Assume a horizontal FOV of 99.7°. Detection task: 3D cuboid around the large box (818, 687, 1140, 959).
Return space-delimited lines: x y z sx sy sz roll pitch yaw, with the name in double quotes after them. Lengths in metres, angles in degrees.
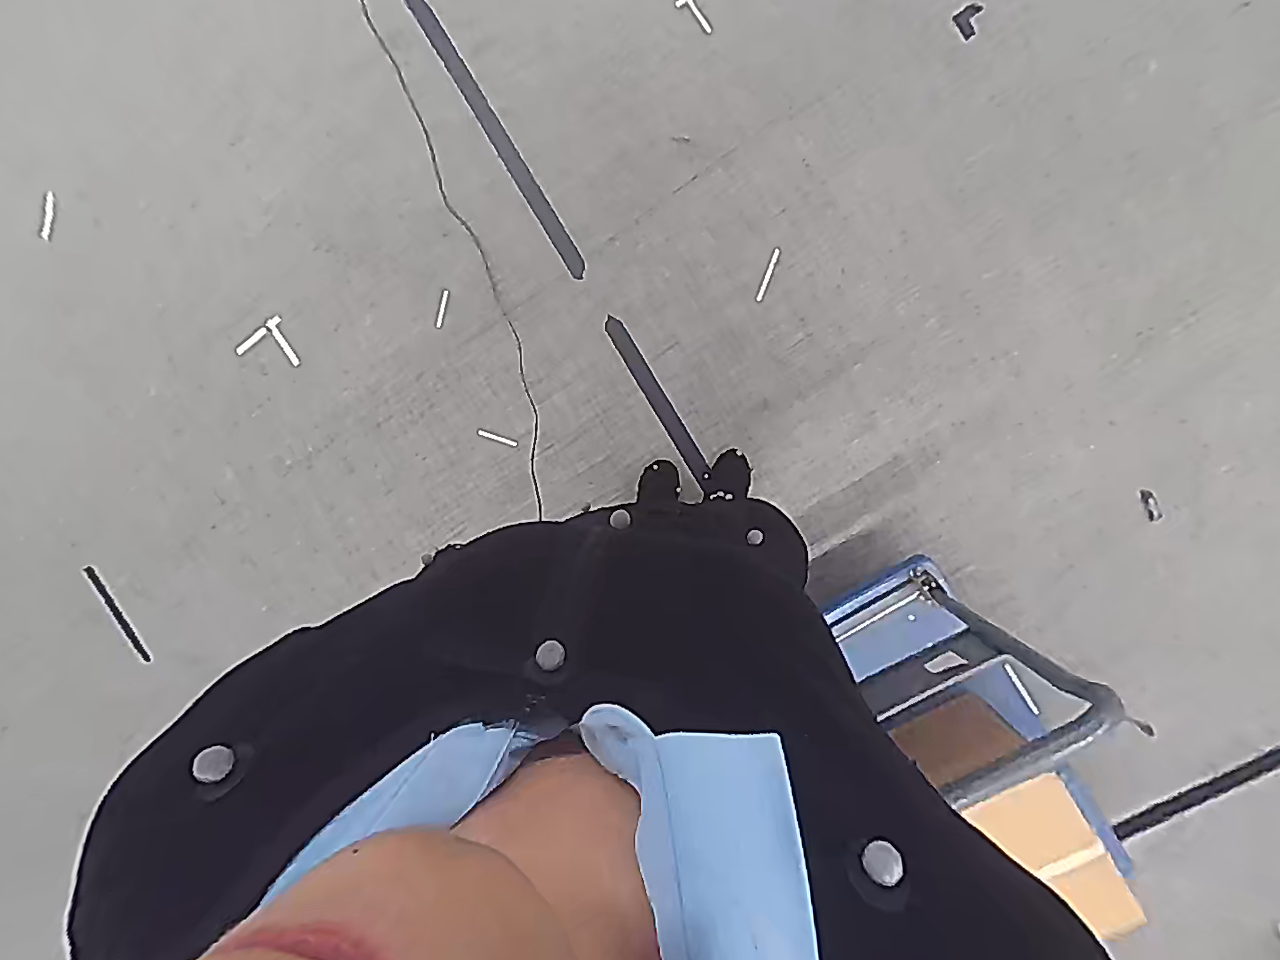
0.647 0.709 1.117 0.408 0.320 0.320 -32 91 7 "large box"
